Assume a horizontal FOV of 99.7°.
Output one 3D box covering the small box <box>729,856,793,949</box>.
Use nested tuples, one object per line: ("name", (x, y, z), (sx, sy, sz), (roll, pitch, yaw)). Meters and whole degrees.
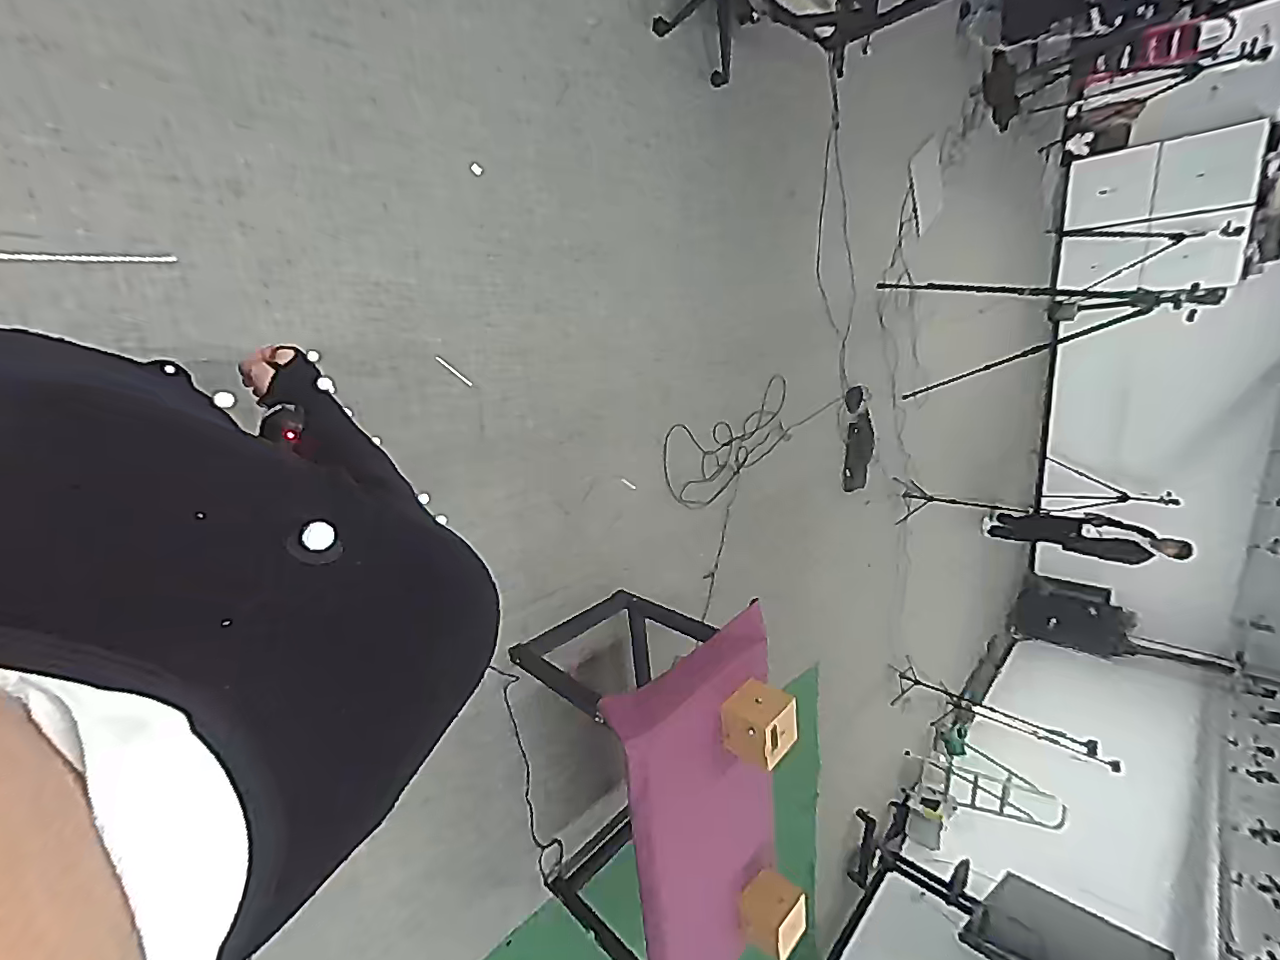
("small box", (0.448, 1.550, 1.999), (0.179, 0.176, 0.168), (-17, 107, -42))
